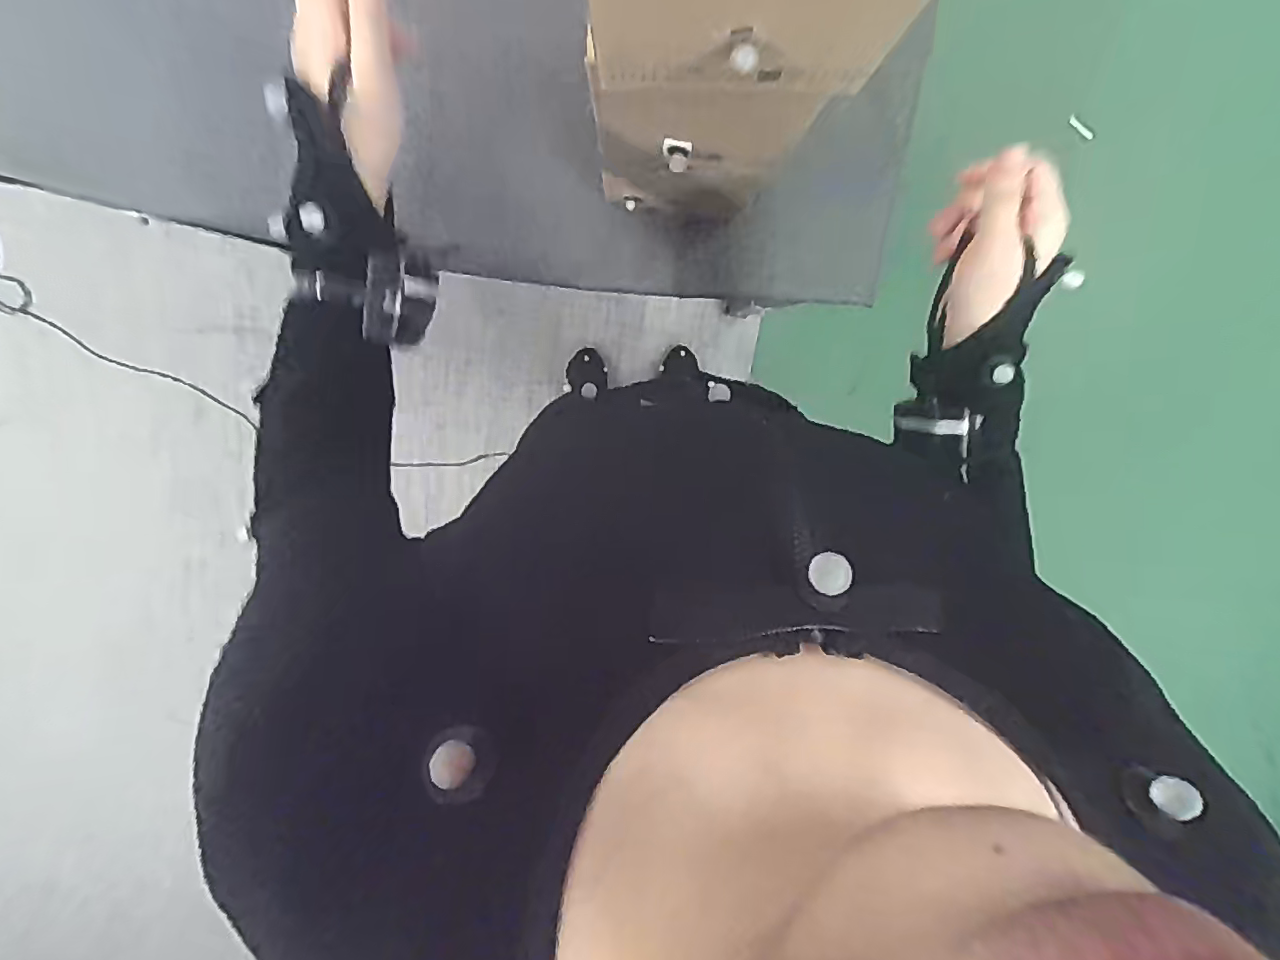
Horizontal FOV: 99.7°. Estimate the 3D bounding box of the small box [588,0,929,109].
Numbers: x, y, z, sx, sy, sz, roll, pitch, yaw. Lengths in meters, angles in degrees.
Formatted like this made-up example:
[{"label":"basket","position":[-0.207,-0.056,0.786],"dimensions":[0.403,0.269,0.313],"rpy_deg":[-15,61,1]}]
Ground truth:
[{"label":"small box","position":[0.056,-0.309,0.248],"dimensions":[0.168,0.176,0.179],"rpy_deg":[1,101,1]}]
